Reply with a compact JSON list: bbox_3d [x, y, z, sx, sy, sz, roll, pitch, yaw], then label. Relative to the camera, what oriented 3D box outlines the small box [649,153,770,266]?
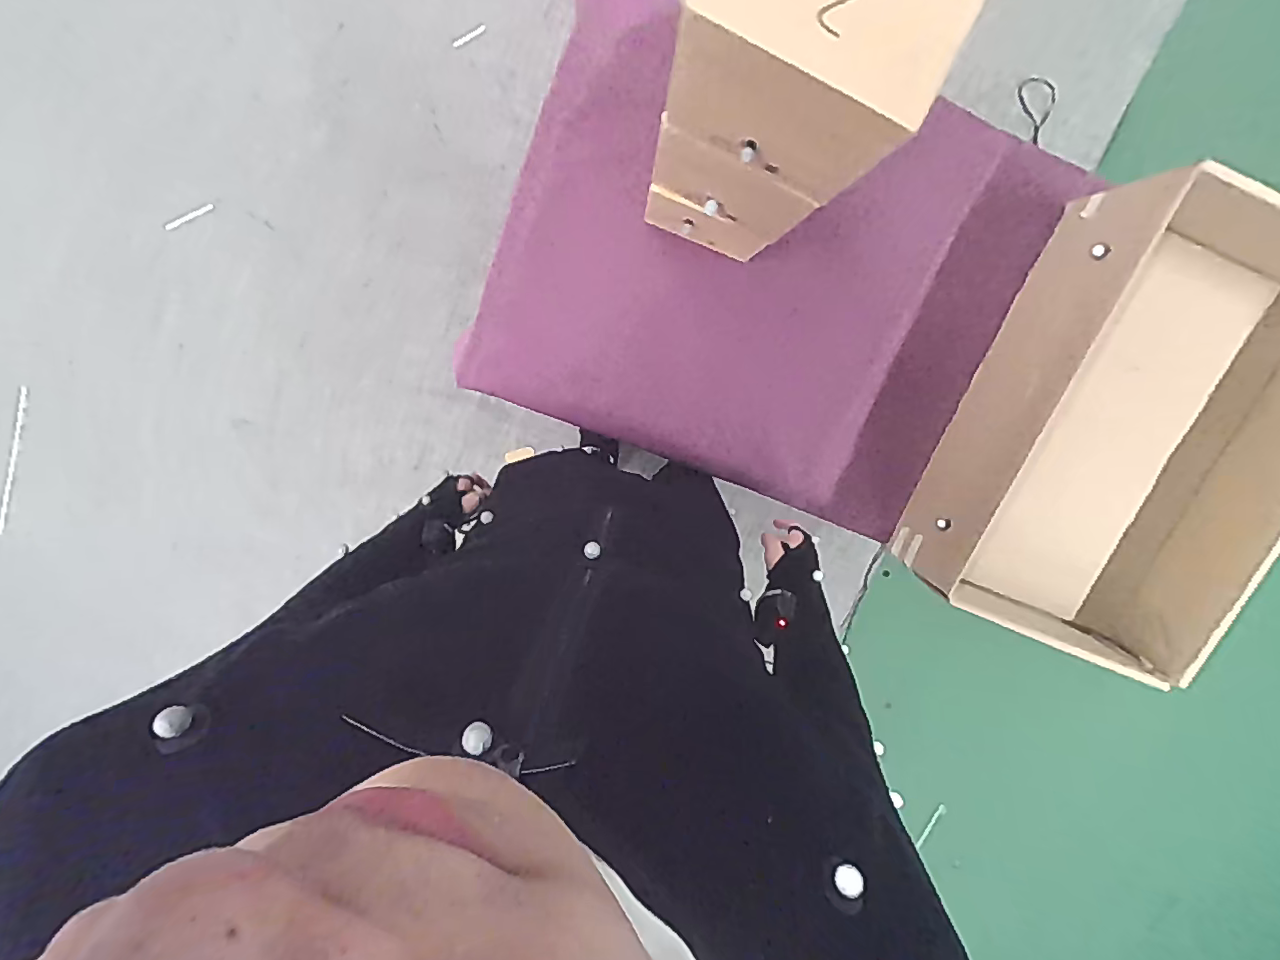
[{"bbox_3d":[0.117,-0.408,0.722,0.168,0.176,0.179,20,100,-6],"label":"small box"}]

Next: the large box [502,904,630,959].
[{"bbox_3d":[-0.243,1.732,1.826,0.408,0.320,0.320,-10,103,-1],"label":"large box"}]

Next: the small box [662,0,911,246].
[{"bbox_3d":[0.130,-0.375,0.562,0.168,0.176,0.179,25,100,-6],"label":"small box"}]
